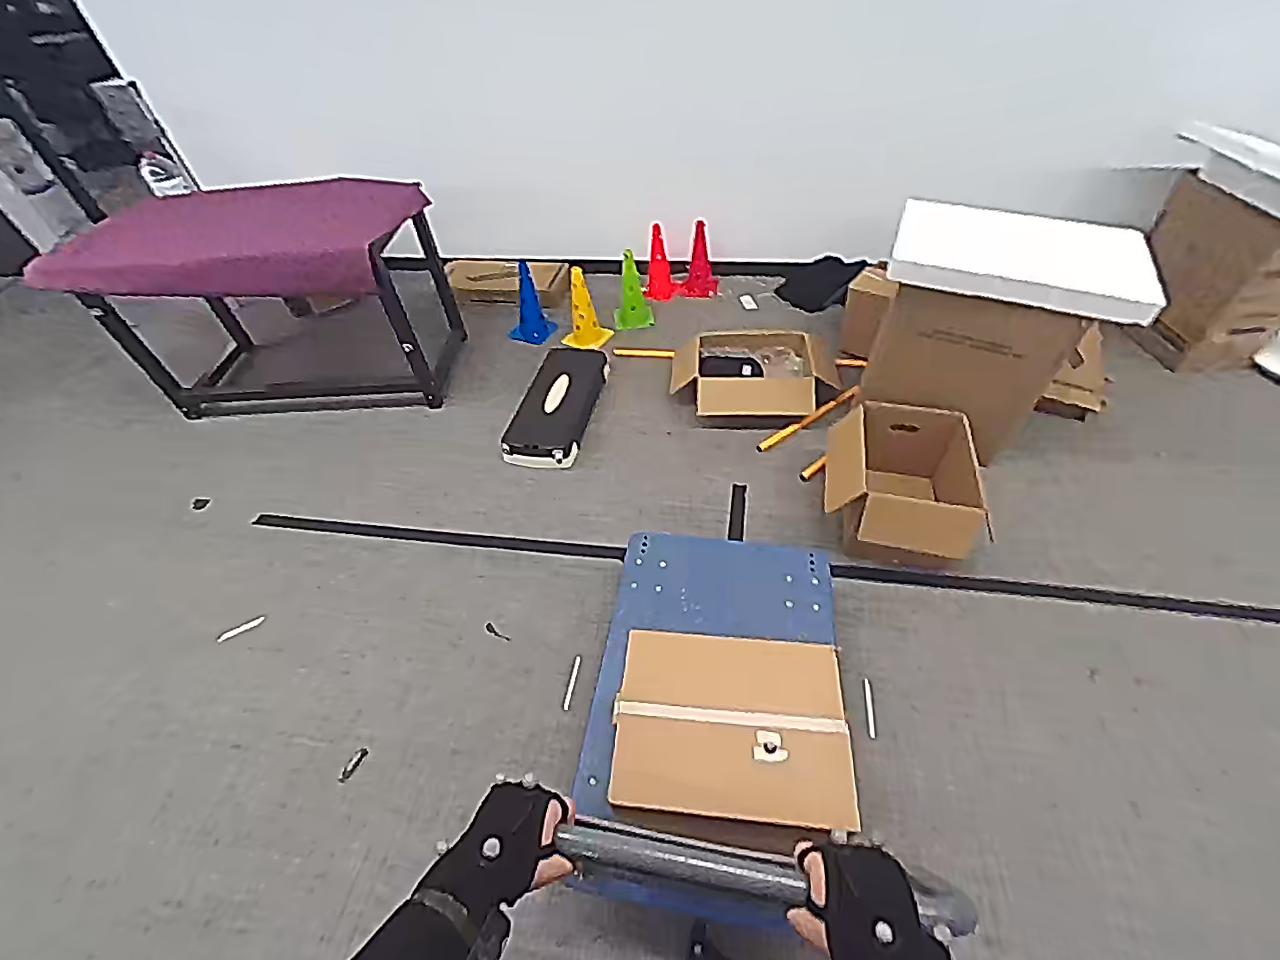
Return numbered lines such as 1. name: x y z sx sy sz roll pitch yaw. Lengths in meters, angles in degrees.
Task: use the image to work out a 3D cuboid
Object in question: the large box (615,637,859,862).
1. large box: 0.171 0.539 1.086 0.408 0.320 0.320 3 48 6
